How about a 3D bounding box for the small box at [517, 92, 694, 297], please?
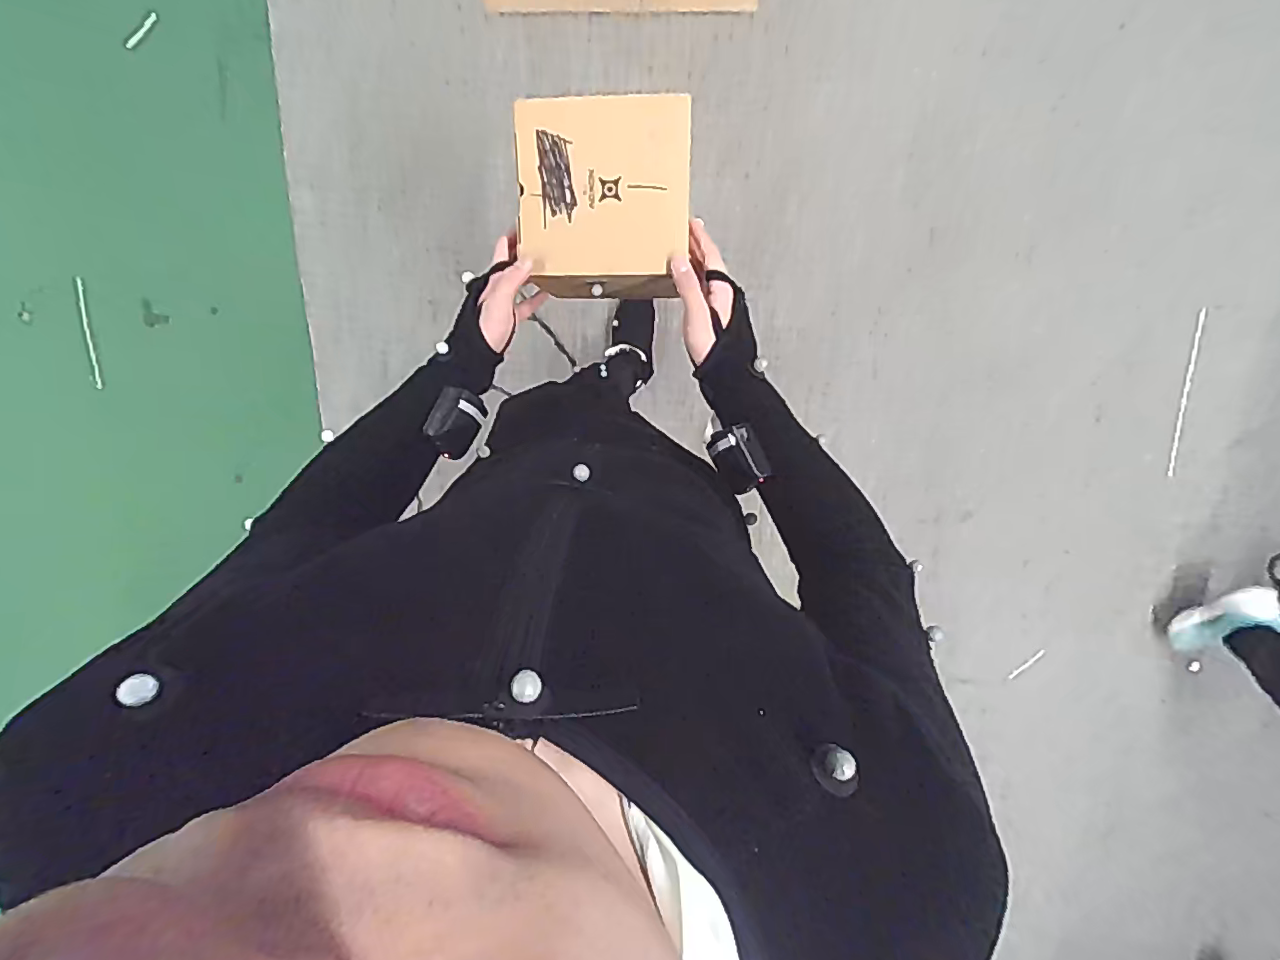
[{"bbox_3d":[-0.029,-0.305,0.613,0.179,0.176,0.168,1,101,4],"label":"small box"}]
